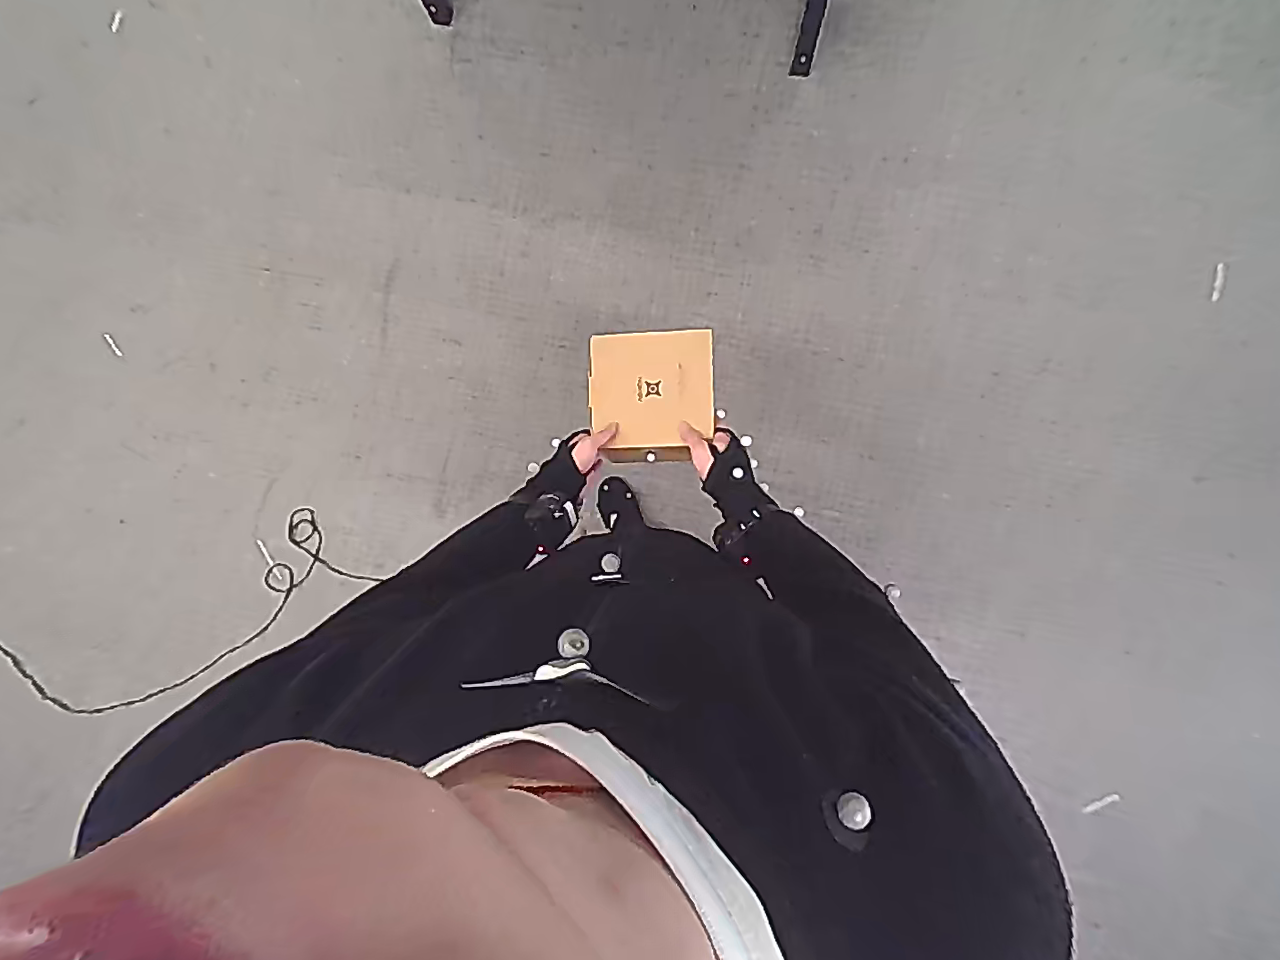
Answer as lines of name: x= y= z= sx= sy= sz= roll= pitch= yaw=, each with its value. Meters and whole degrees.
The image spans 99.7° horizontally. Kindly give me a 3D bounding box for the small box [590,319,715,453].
small box: x=0.026 y=-0.134 z=0.831 sx=0.179 sy=0.176 sz=0.168 roll=-2 pitch=85 yaw=6
